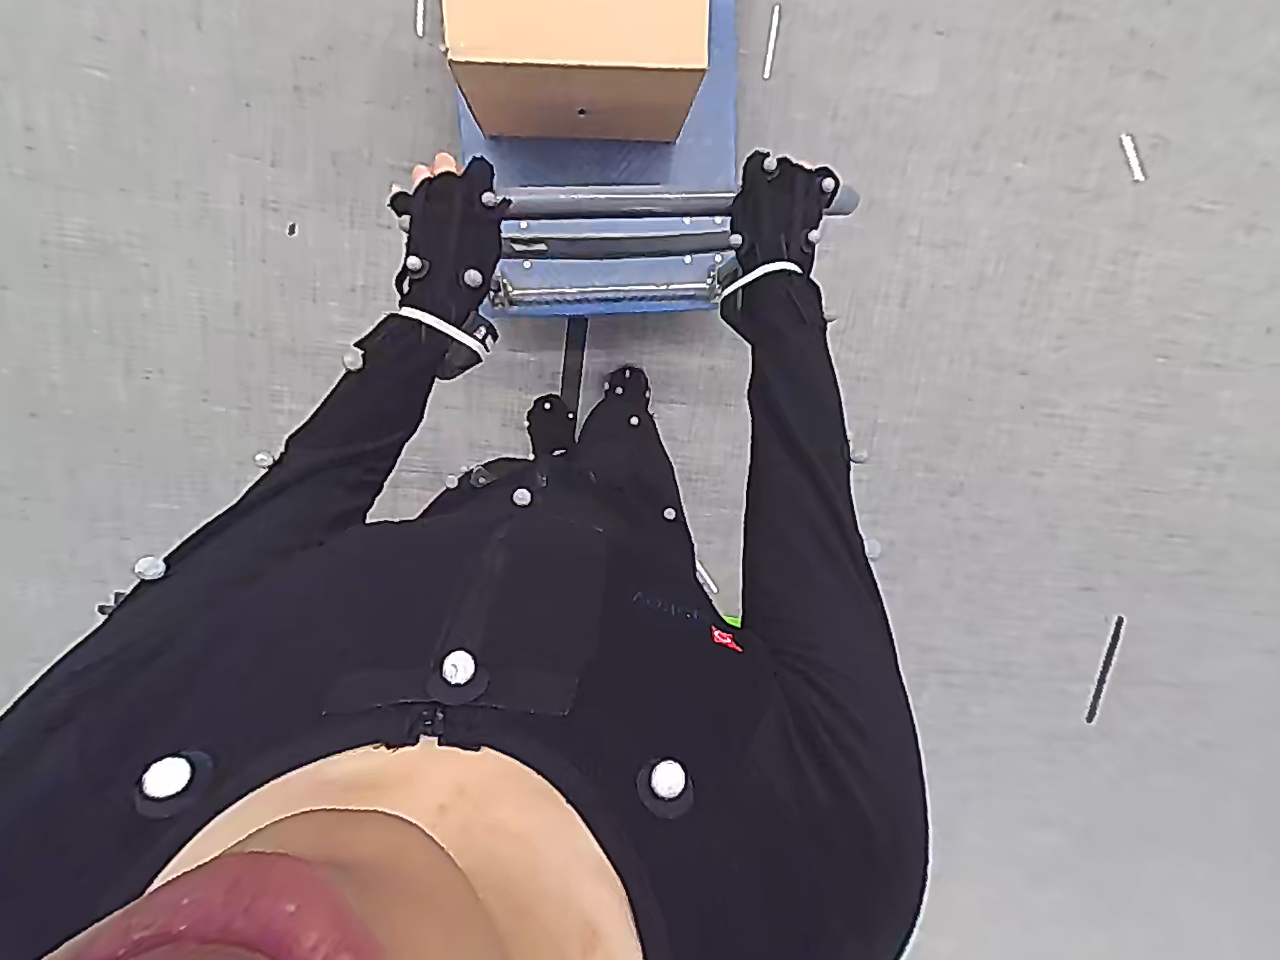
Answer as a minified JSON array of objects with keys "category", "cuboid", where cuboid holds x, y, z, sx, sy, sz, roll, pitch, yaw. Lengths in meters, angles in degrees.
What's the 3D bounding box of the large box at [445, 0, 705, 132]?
[{"category":"large box","cuboid":[-0.108,-0.838,0.954,0.408,0.320,0.320,-2,104,-4]}]
